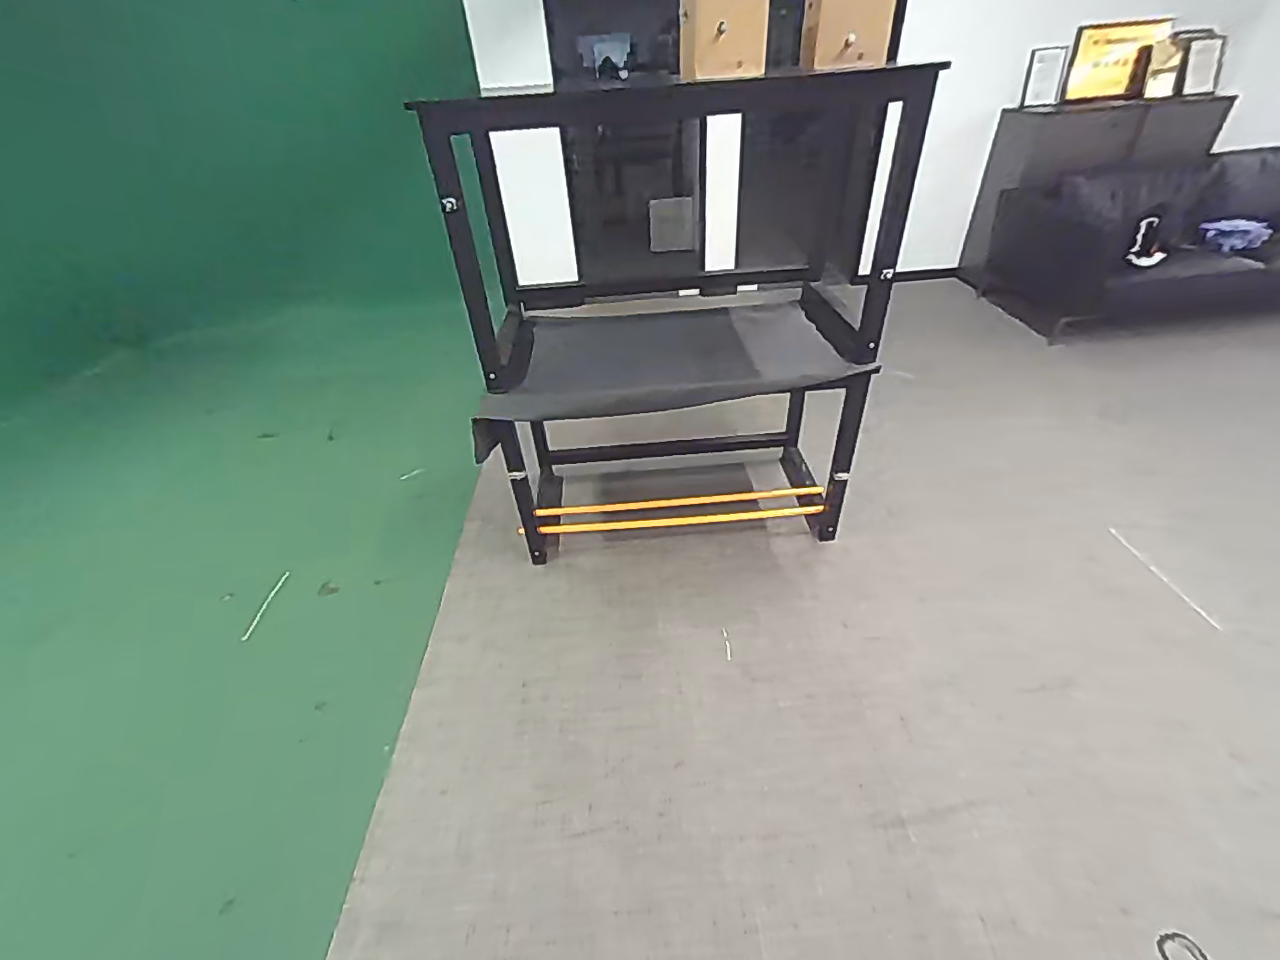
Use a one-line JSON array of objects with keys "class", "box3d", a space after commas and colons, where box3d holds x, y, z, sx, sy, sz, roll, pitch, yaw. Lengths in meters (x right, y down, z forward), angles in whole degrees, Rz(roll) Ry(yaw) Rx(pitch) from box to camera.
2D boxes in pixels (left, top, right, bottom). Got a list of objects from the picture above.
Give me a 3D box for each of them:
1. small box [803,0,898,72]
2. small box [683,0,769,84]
[{"class": "small box", "box3d": [0.491, -1.075, 1.278, 0.168, 0.176, 0.179, -2, 38, 4]}, {"class": "small box", "box3d": [0.199, -1.045, 1.273, 0.168, 0.176, 0.179, -8, 37, -4]}]
